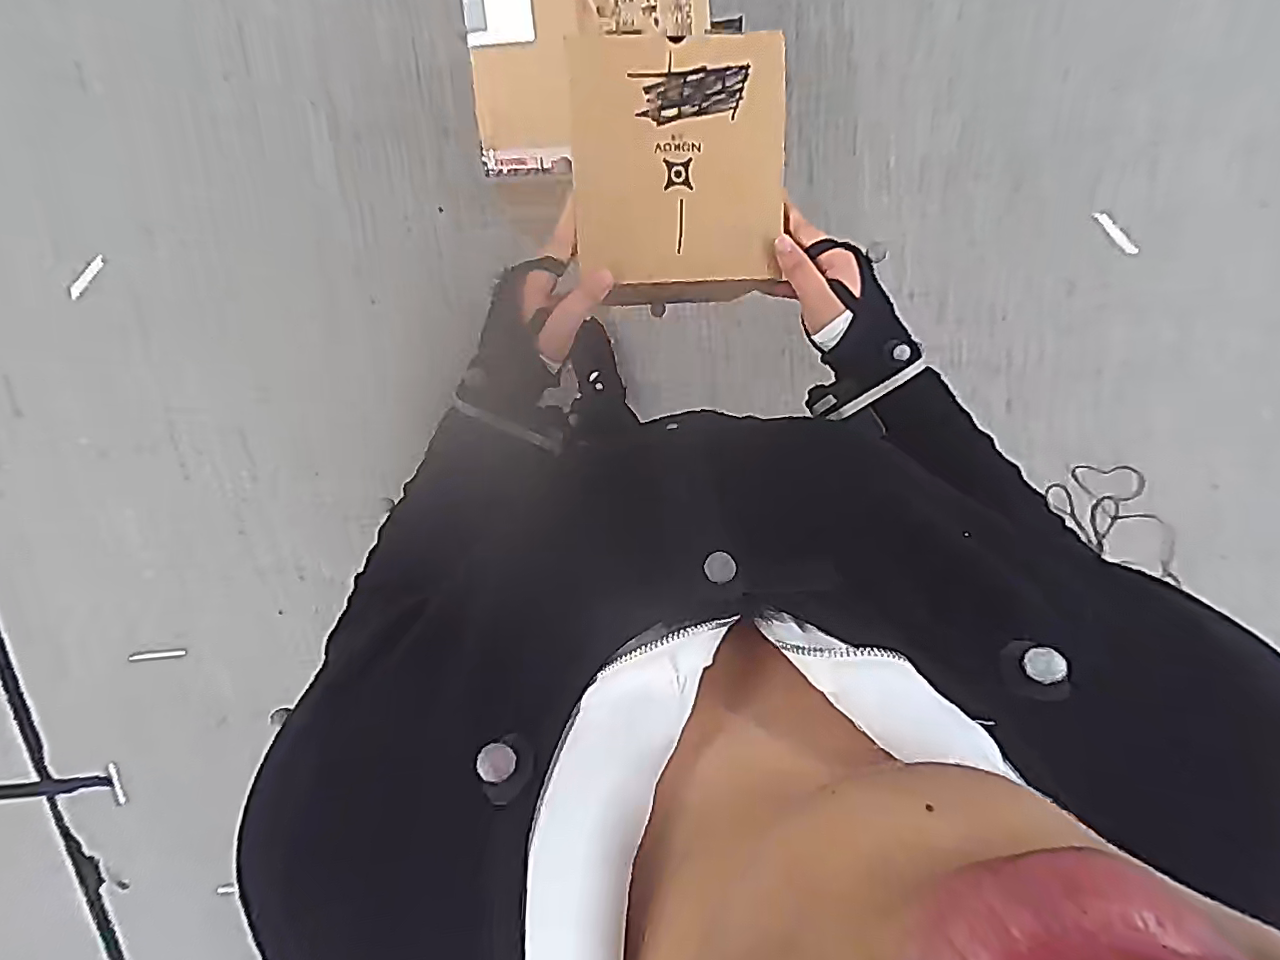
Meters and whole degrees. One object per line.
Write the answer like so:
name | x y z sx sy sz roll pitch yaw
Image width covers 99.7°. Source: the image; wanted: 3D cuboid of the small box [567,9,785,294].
small box | 0.021 -0.270 0.487 0.168 0.176 0.179 -3 103 -5
